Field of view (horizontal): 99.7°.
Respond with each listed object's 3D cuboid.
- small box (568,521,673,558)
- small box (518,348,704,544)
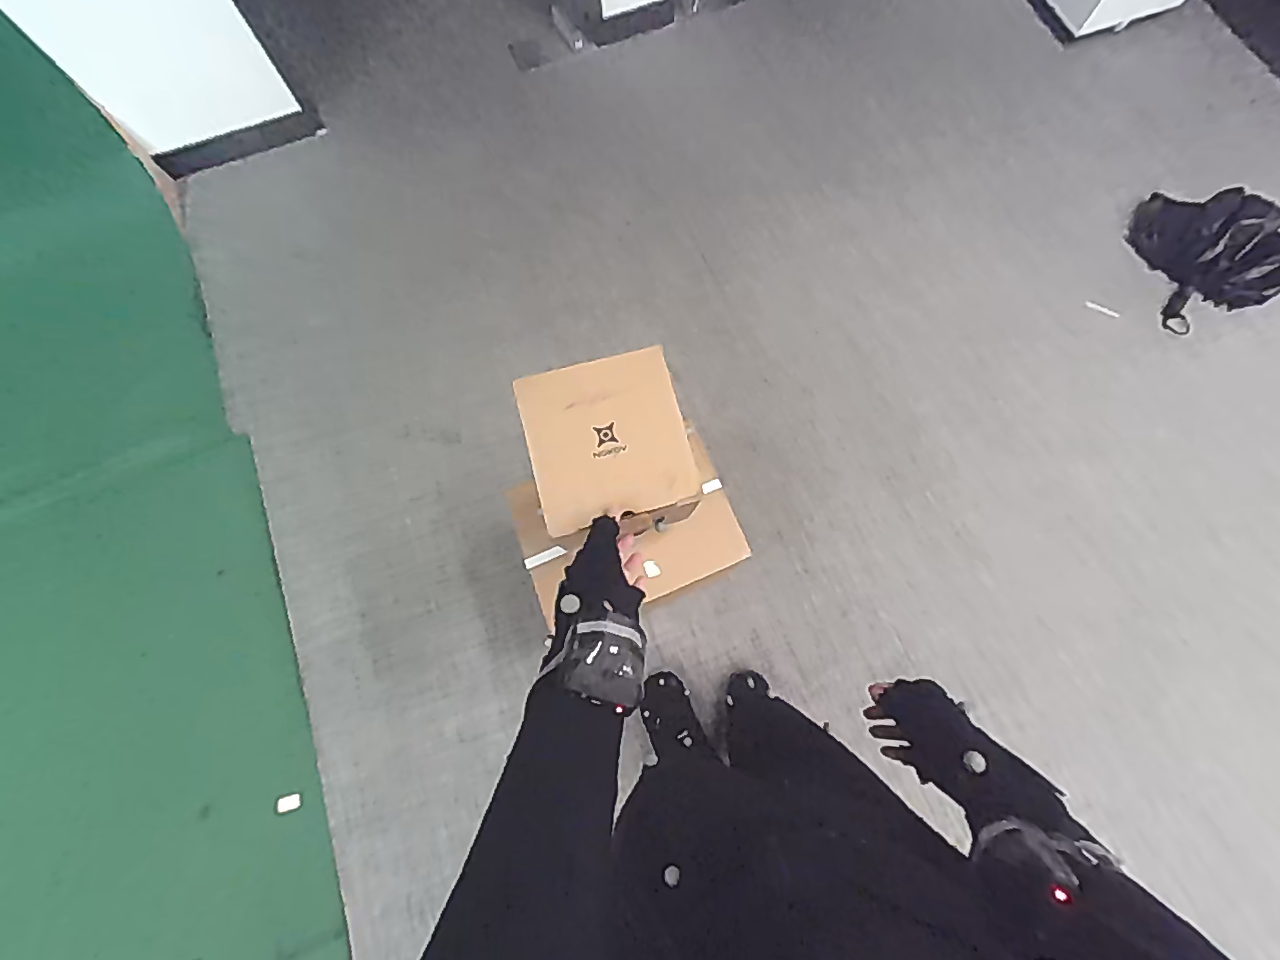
[{"bbox_3d":[-0.051,0.035,0.964,0.179,0.176,0.168,-15,78,-4],"label":"small box"},{"bbox_3d":[-0.033,-0.027,0.646,0.168,0.176,0.179,-15,78,-5],"label":"small box"}]
